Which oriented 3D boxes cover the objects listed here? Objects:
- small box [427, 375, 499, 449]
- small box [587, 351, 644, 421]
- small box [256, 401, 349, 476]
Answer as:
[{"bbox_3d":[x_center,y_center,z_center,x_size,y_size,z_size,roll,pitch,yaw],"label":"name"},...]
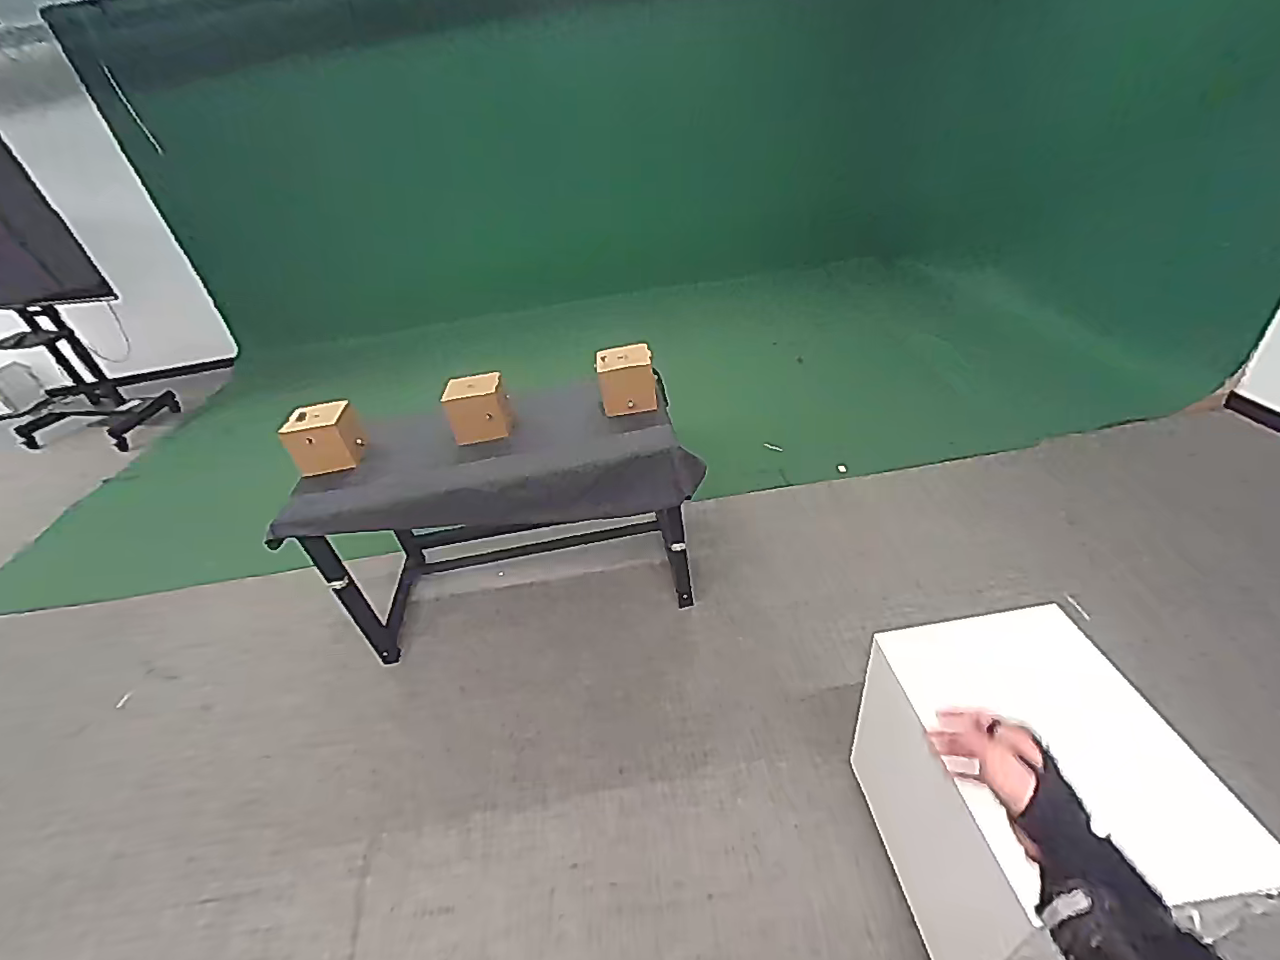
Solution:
[{"bbox_3d":[-0.570,-0.223,1.769,0.179,0.176,0.168,-10,34,-3],"label":"small box"},{"bbox_3d":[-0.080,-0.313,1.803,0.179,0.176,0.168,-8,35,-1],"label":"small box"},{"bbox_3d":[-1.063,-0.129,1.718,0.179,0.176,0.168,-10,35,-6],"label":"small box"}]
